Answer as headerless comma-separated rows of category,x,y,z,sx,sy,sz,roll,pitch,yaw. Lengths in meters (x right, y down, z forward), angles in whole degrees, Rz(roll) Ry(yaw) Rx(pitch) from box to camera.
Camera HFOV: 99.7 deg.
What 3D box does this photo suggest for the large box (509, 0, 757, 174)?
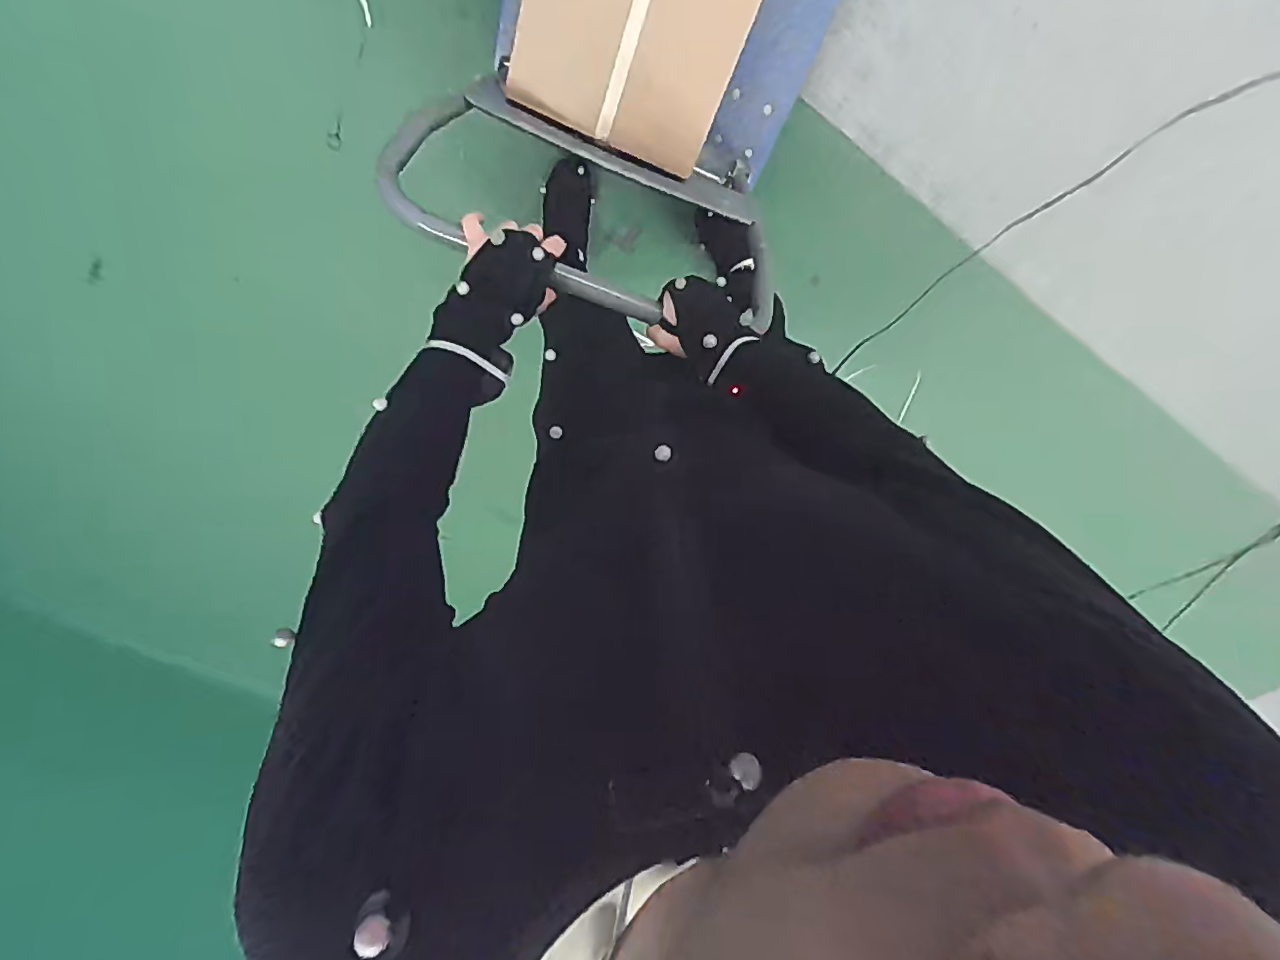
large box,0.013,-0.779,0.864,0.320,0.320,0.408,18,126,-12
